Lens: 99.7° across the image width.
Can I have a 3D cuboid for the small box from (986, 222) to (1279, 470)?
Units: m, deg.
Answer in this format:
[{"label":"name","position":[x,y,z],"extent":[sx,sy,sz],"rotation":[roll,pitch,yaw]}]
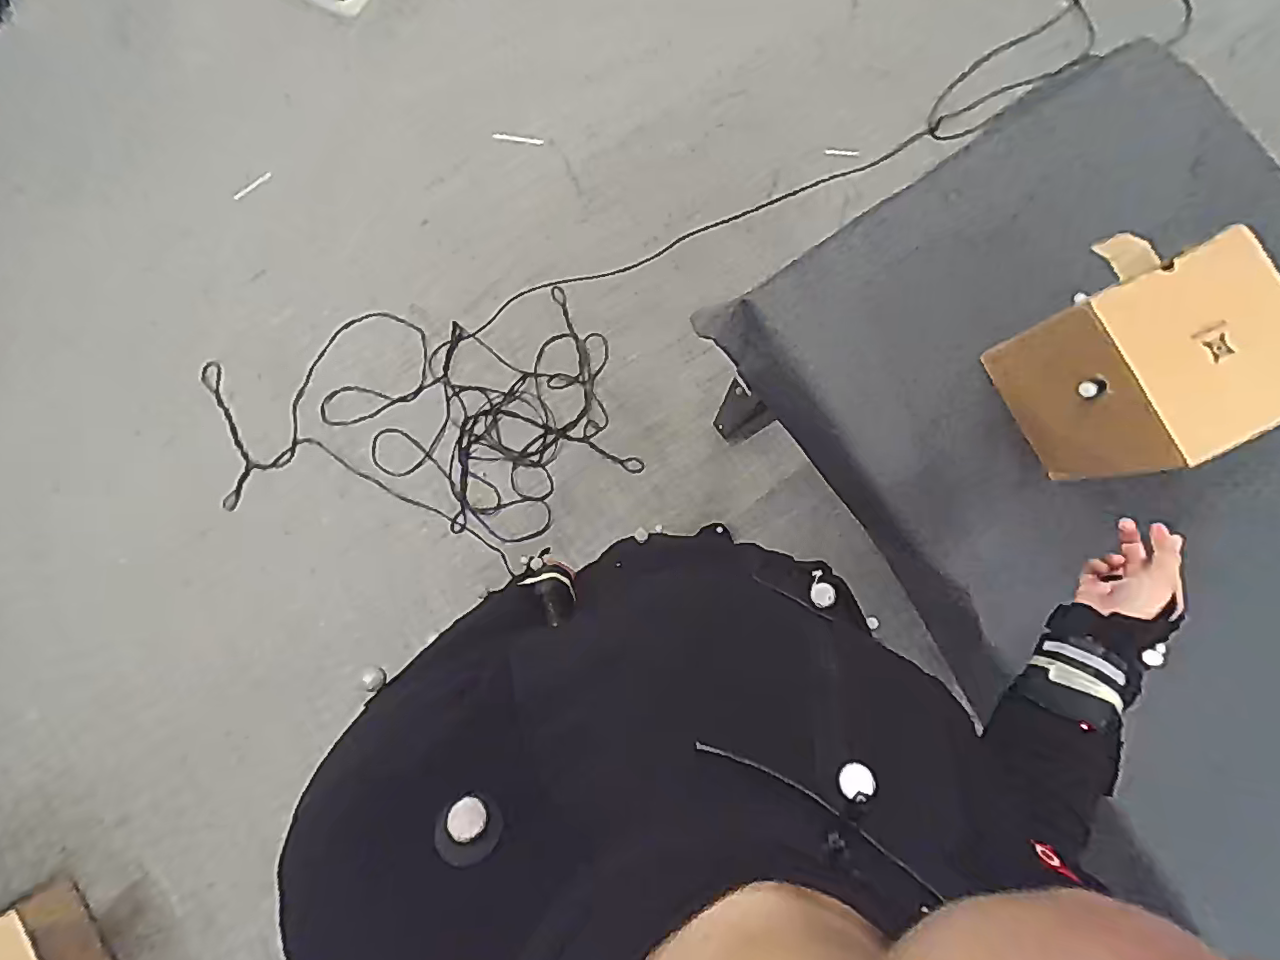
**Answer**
[{"label":"small box","position":[0.520,-0.121,0.569],"extent":[0.168,0.176,0.179],"rotation":[-27,84,-2]}]
